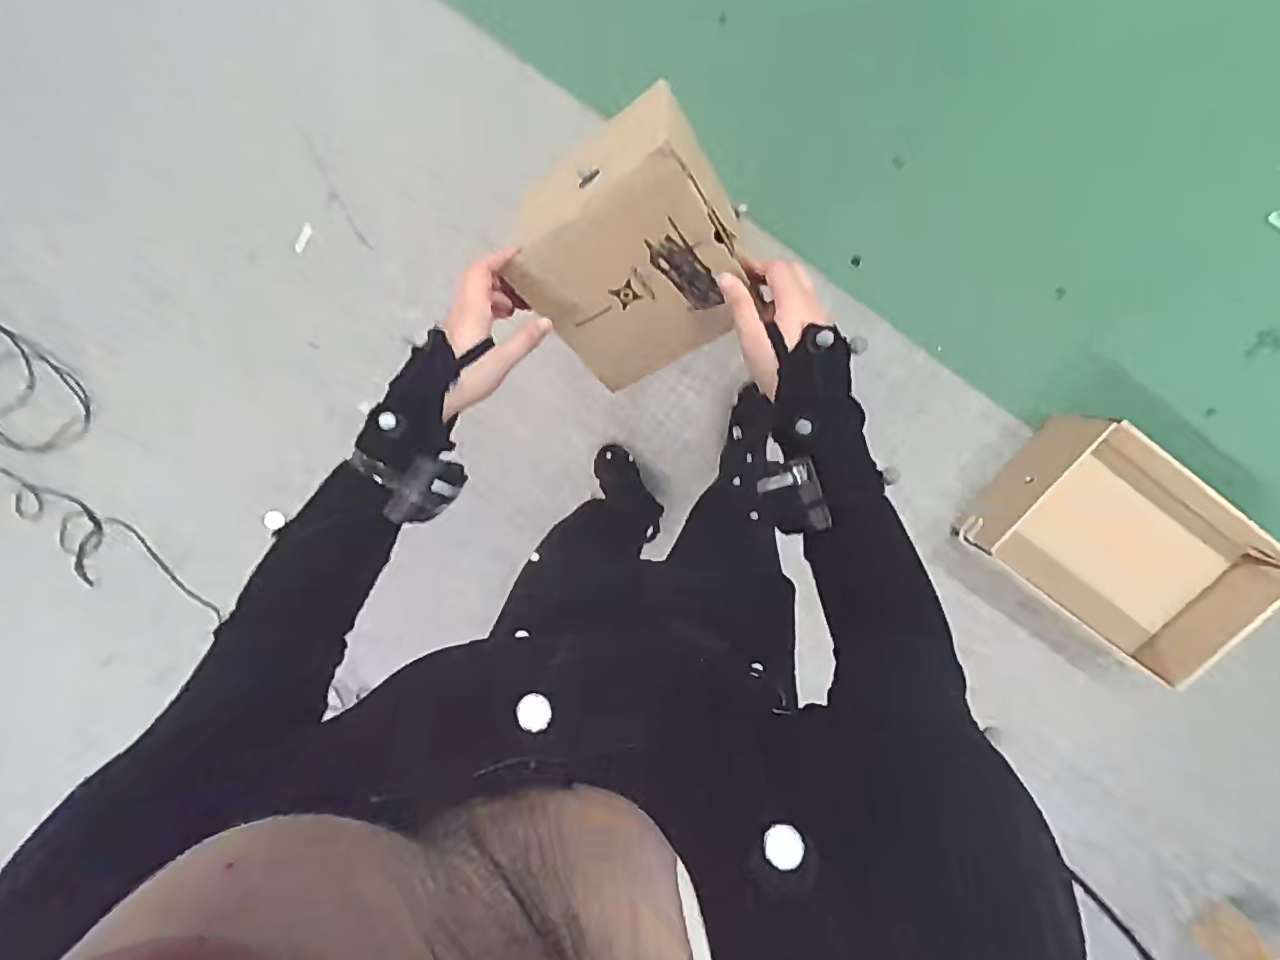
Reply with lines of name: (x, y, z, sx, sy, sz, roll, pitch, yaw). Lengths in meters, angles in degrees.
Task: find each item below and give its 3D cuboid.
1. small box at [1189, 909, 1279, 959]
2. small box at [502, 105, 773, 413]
small box: (1.809, 1.425, 1.598, 0.168, 0.176, 0.179, -43, 98, 11)
small box: (0.000, -0.202, 0.505, 0.179, 0.176, 0.168, -24, 133, 26)
